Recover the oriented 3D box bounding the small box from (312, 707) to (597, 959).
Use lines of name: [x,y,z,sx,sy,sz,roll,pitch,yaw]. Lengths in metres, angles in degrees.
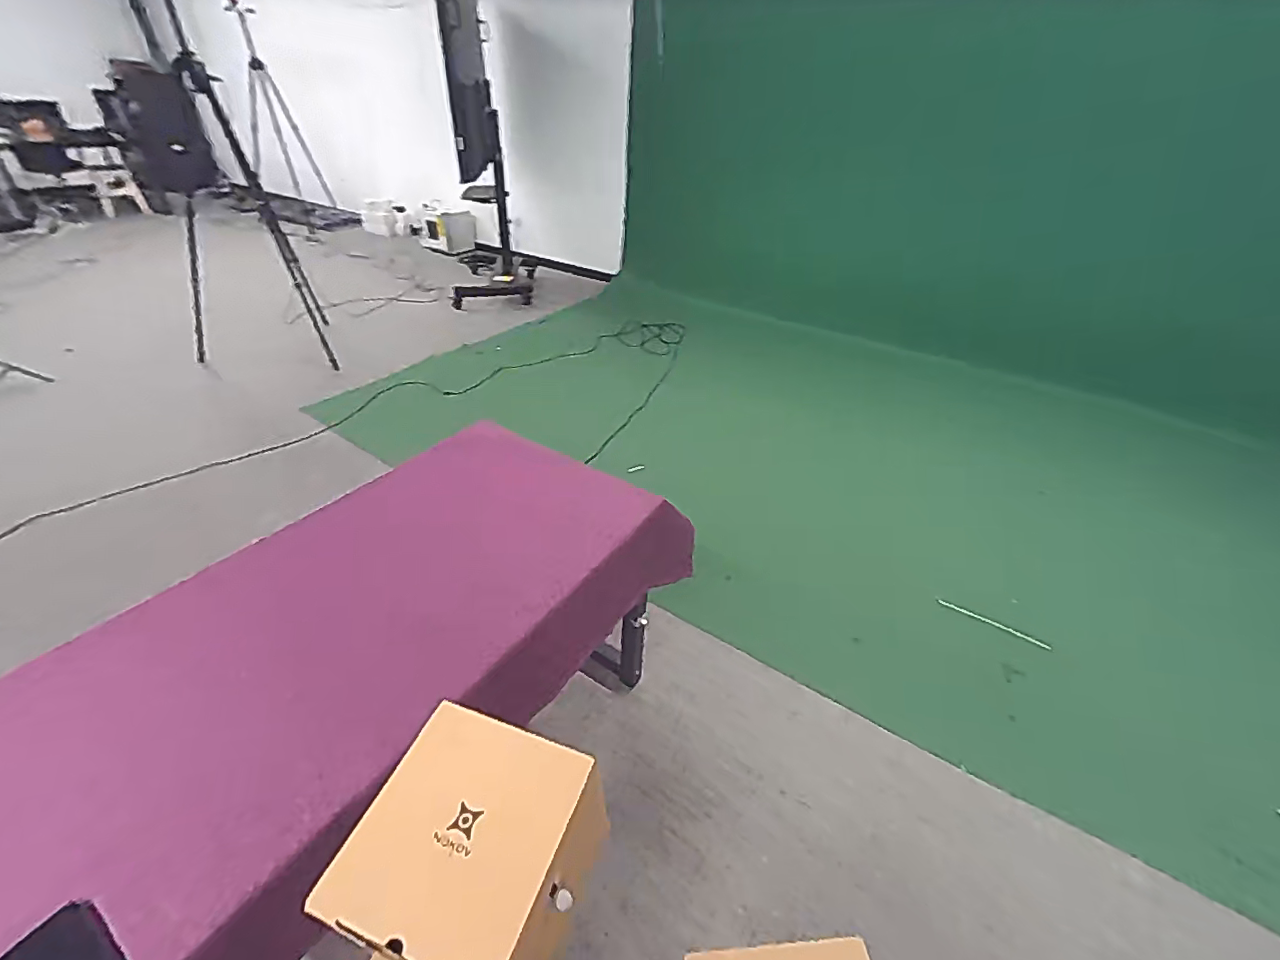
small box: [-0.147,0.354,0.501,0.168,0.176,0.179,12,42,17]
